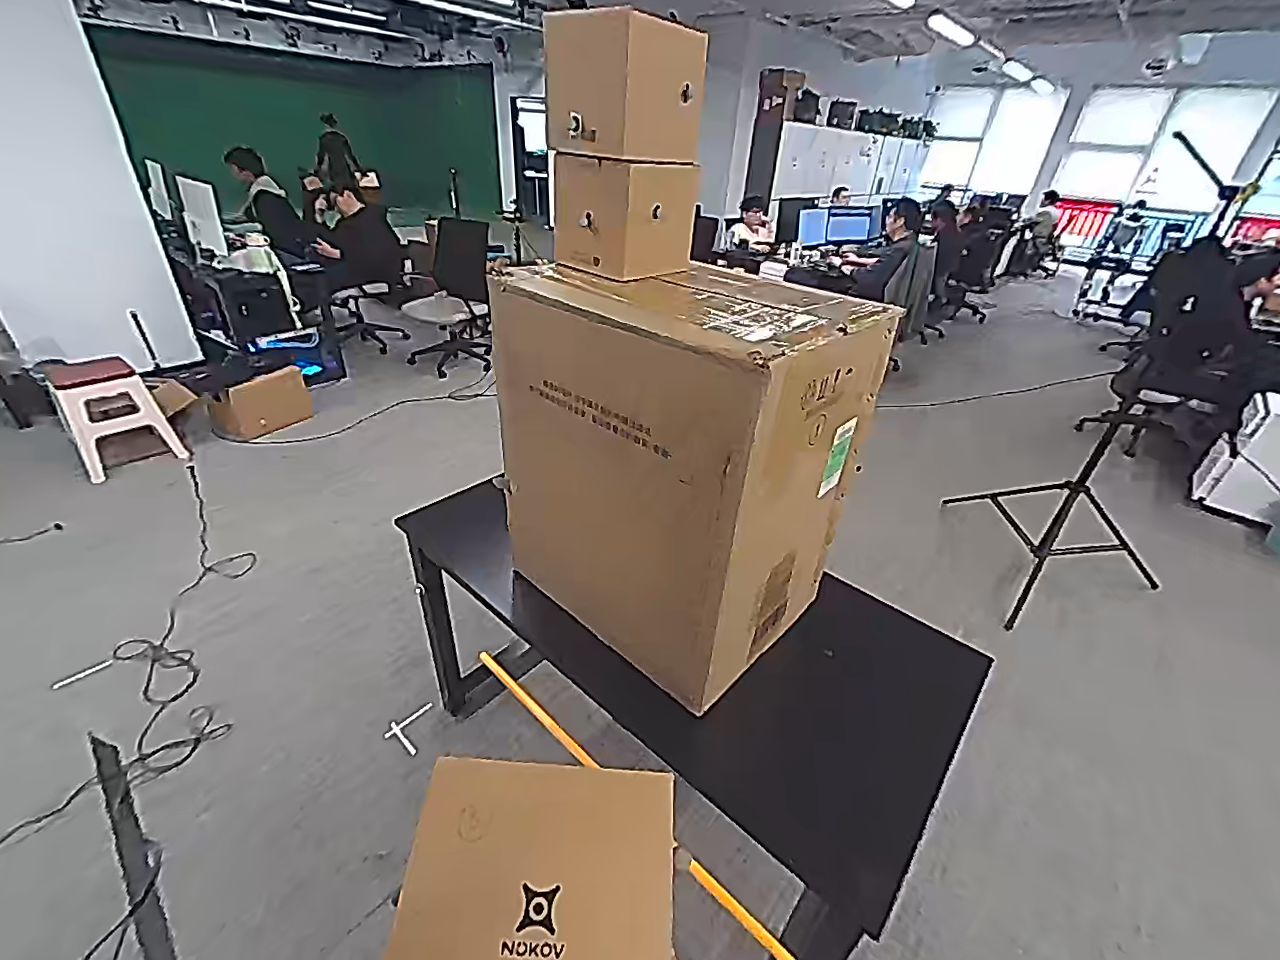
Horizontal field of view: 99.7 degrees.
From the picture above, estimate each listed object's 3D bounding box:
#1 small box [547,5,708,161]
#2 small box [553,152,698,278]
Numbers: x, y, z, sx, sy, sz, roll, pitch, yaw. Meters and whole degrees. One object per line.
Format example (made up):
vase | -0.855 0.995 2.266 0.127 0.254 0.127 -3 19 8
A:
small box | -0.022 -0.577 0.806 0.168 0.176 0.179 26 38 32
small box | -0.024 -0.443 0.900 0.168 0.176 0.179 28 39 31
